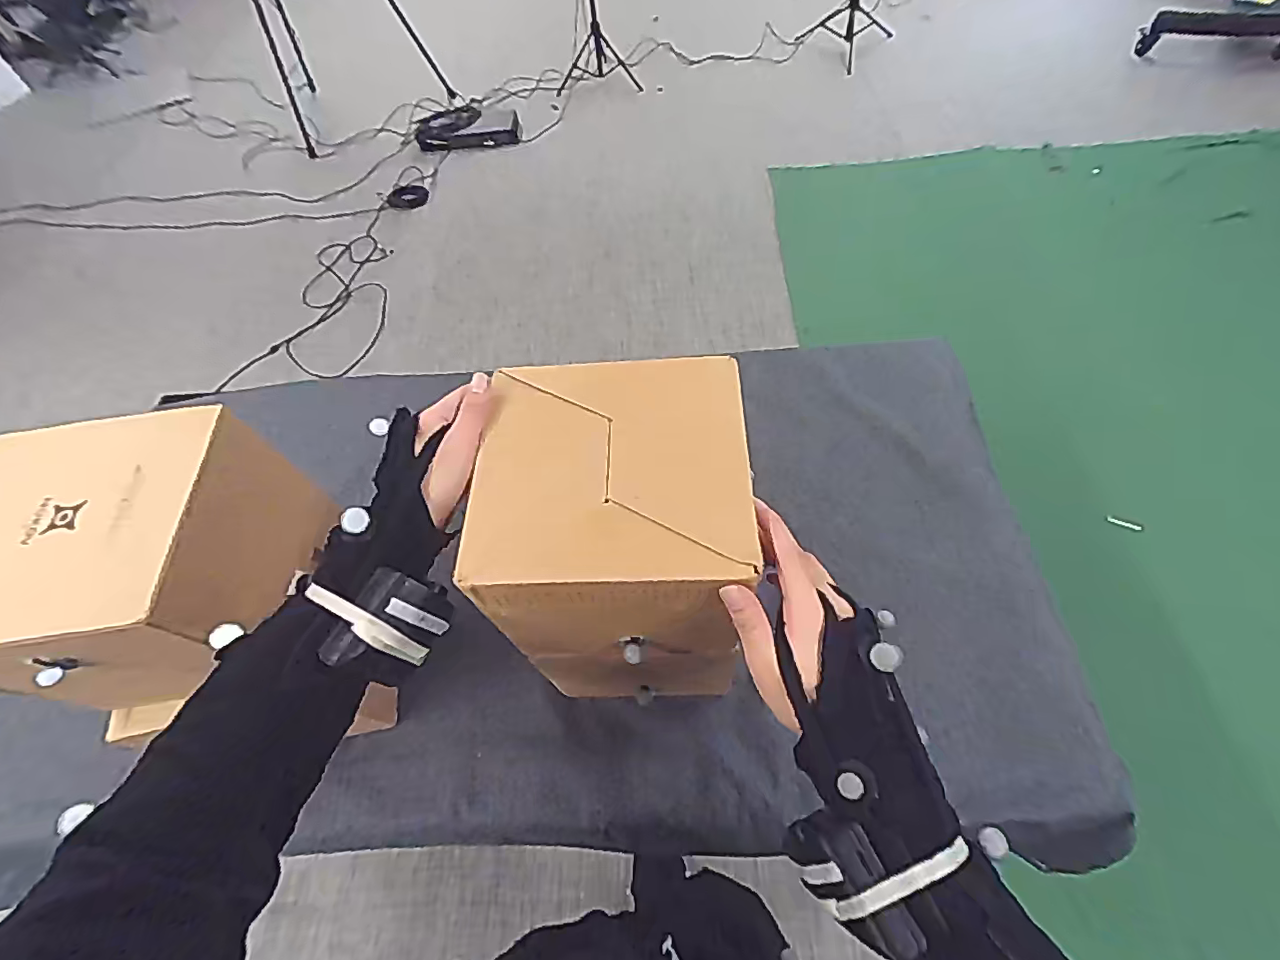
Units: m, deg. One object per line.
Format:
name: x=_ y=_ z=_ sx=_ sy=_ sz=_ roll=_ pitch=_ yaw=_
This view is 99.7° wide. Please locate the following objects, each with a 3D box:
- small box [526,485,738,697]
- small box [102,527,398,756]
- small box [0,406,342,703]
small box: x=-0.003 y=0.118 z=0.549 sx=0.179 sy=0.176 sz=0.168 roll=-2 pitch=58 yaw=3
small box: x=-0.364 y=0.164 z=0.550 sx=0.168 sy=0.176 sz=0.179 roll=-12 pitch=59 yaw=-2
small box: x=-0.372 y=0.067 z=0.421 sx=0.179 sy=0.176 sz=0.168 roll=-7 pitch=59 yaw=-2
